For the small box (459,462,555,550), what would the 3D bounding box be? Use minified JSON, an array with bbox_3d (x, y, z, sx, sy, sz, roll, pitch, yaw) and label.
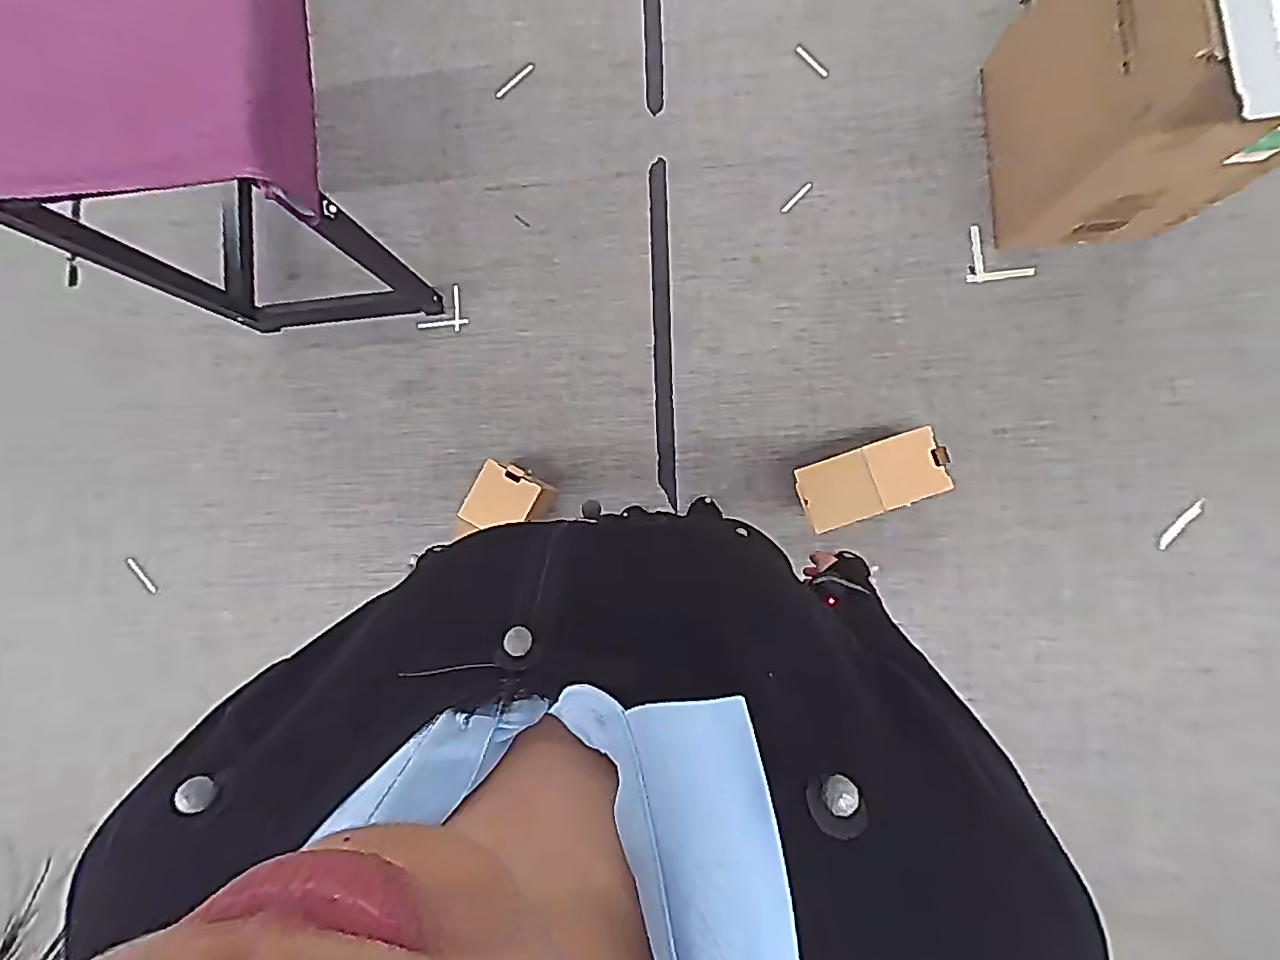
[{"bbox_3d":[-0.351,0.072,1.464,0.168,0.176,0.179,28,89,6],"label":"small box"}]
